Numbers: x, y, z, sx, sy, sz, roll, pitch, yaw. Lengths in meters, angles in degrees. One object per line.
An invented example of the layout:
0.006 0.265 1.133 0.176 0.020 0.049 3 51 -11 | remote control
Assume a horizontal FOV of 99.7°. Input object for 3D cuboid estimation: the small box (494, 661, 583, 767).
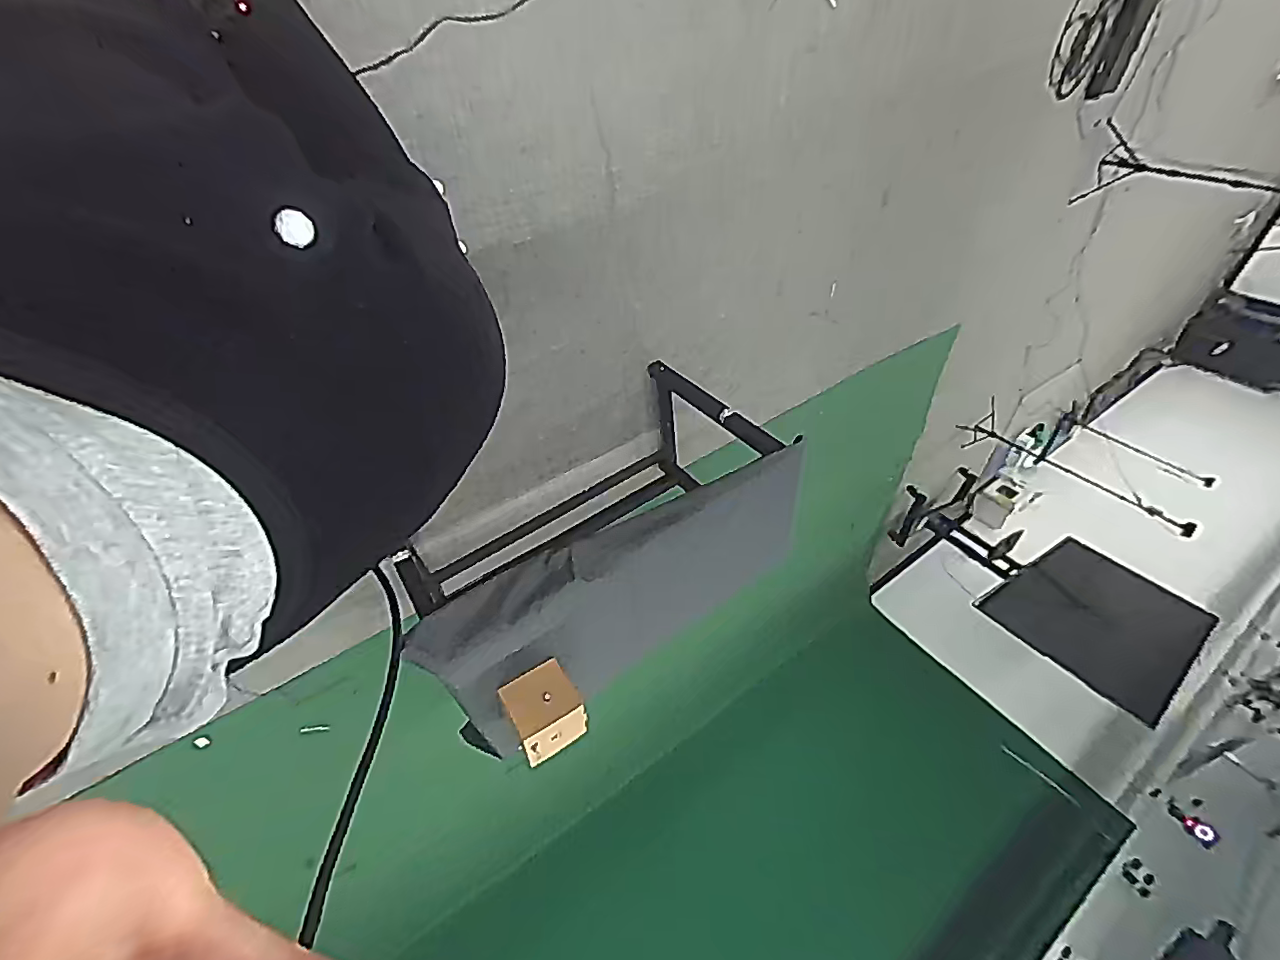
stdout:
-0.278 0.636 1.487 0.179 0.176 0.168 -25 136 -27 | small box
